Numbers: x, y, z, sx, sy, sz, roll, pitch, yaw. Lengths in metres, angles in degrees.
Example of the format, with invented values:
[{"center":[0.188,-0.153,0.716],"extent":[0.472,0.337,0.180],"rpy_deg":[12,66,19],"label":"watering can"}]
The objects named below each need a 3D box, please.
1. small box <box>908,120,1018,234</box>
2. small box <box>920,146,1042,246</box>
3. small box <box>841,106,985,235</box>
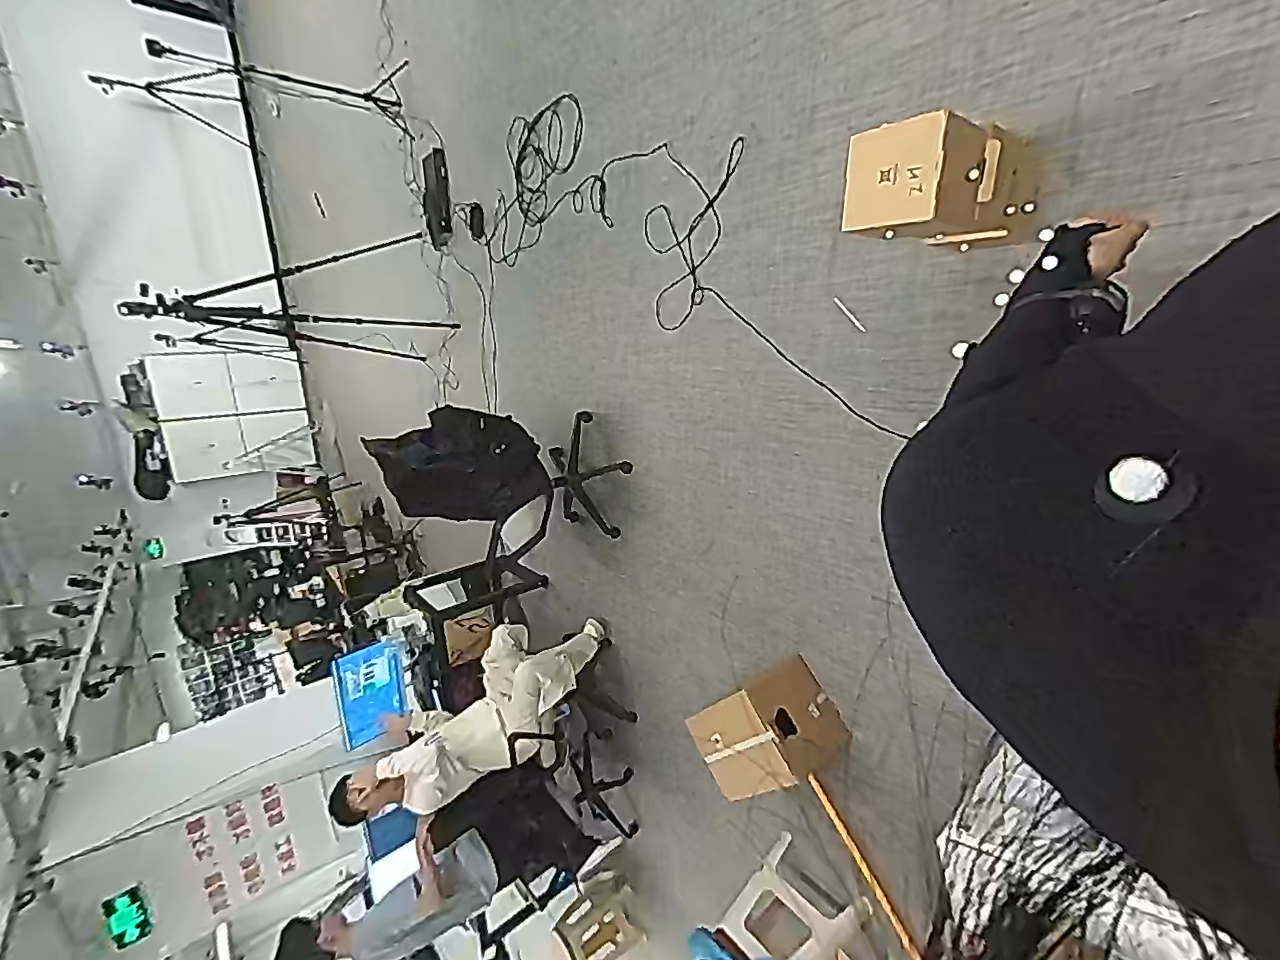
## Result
[{"center":[0.634,-0.602,1.099],"extent":[0.179,0.176,0.168],"rpy_deg":[20,115,48],"label":"small box"},{"center":[0.760,-0.622,1.203],"extent":[0.179,0.176,0.168],"rpy_deg":[18,115,48],"label":"small box"},{"center":[0.504,-0.560,1.006],"extent":[0.179,0.176,0.168],"rpy_deg":[19,116,48],"label":"small box"}]
